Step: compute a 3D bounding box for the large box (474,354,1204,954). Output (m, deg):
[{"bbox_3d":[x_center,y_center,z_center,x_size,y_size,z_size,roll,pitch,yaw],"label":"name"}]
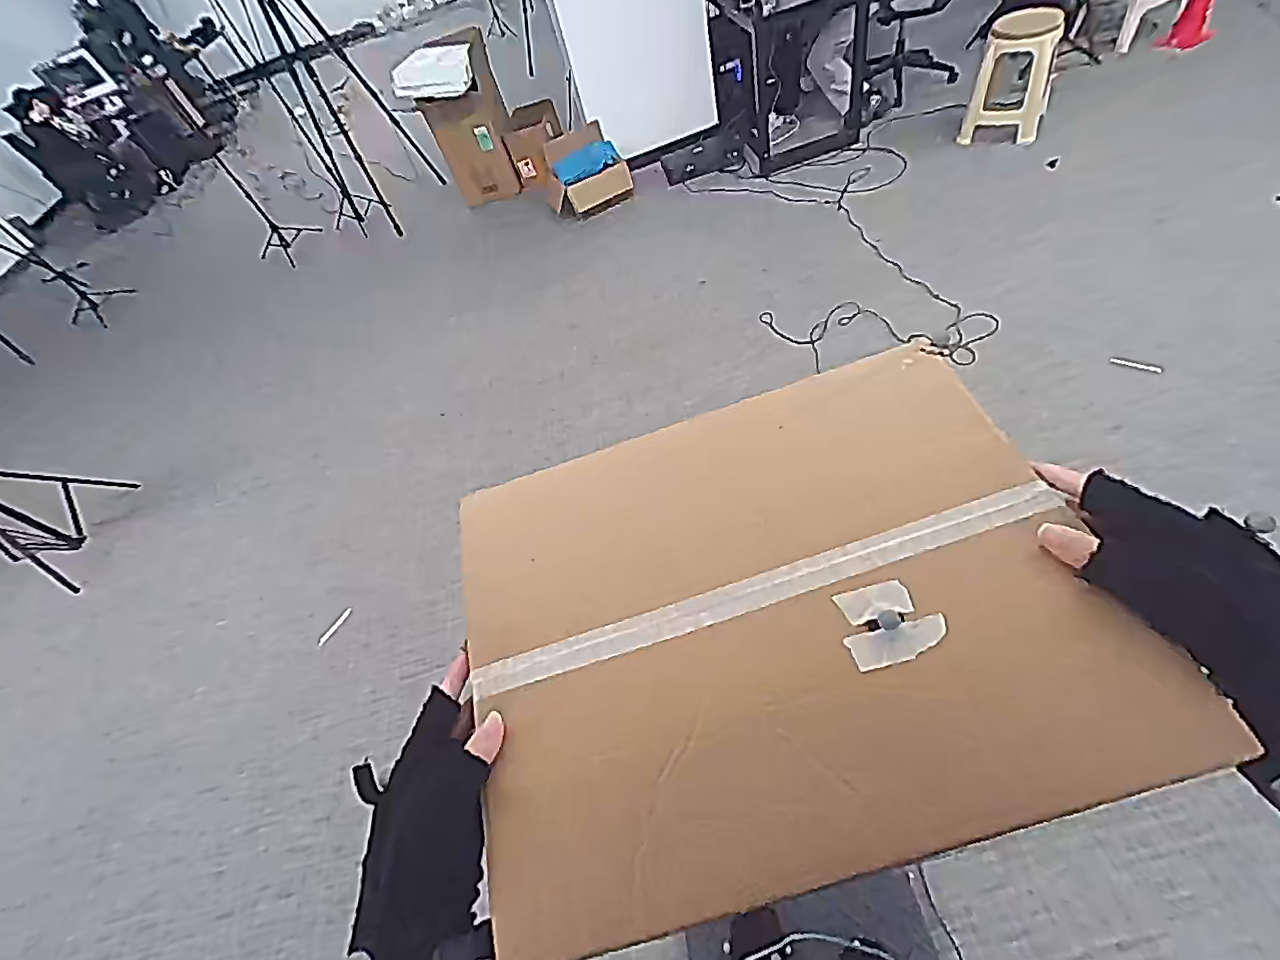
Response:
[{"bbox_3d":[0.110,0.155,0.501,0.408,0.320,0.320,-19,57,2],"label":"large box"}]
